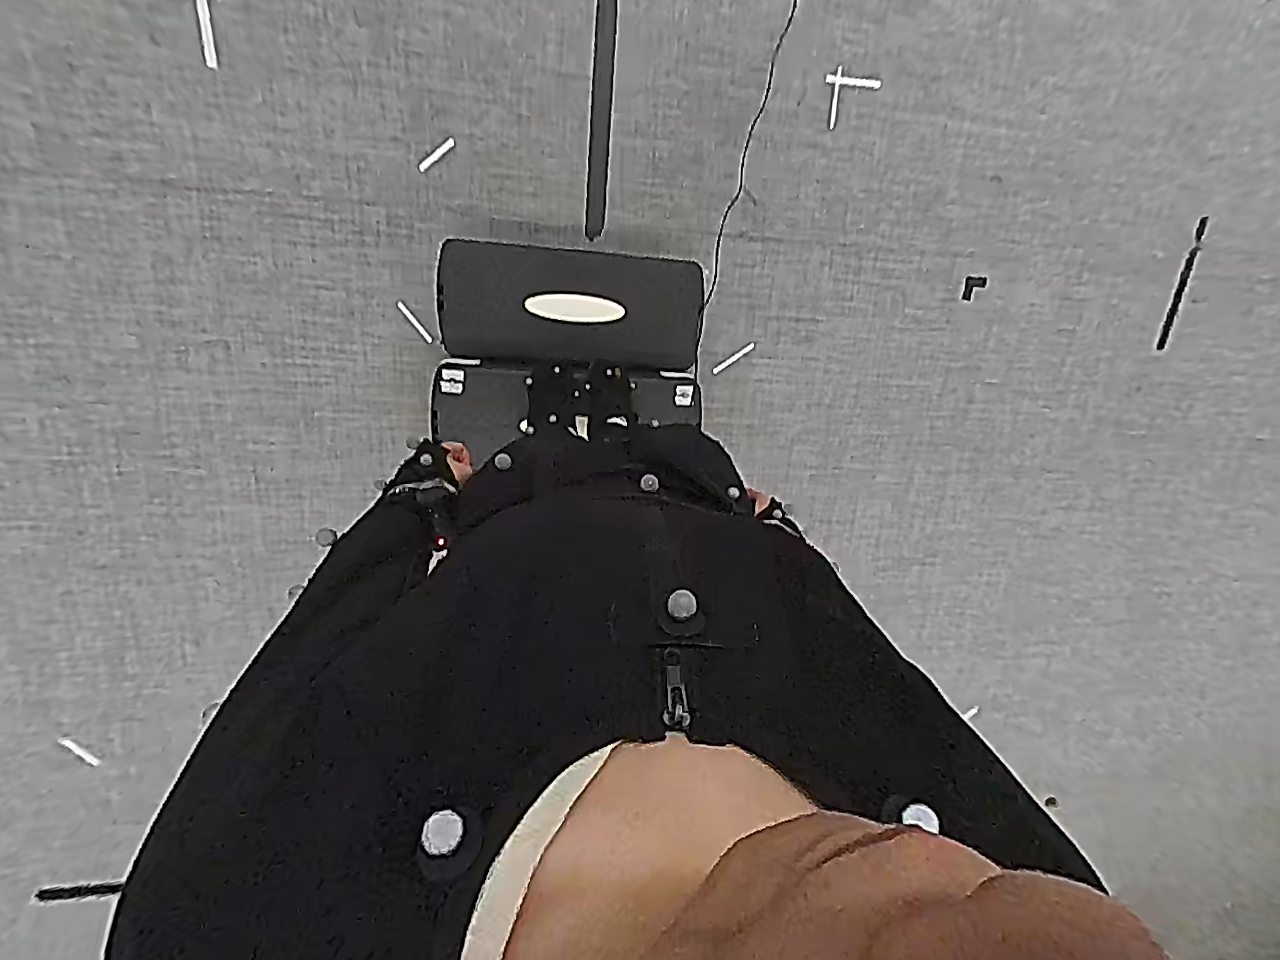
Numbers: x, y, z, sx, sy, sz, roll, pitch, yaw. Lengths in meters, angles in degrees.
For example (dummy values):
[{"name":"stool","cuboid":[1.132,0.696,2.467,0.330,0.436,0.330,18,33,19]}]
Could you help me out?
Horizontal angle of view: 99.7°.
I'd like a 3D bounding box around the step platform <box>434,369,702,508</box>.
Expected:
[{"name":"step platform","cuboid":[-0.179,-0.106,1.430,0.684,0.204,0.286,6,103,-9]}]
